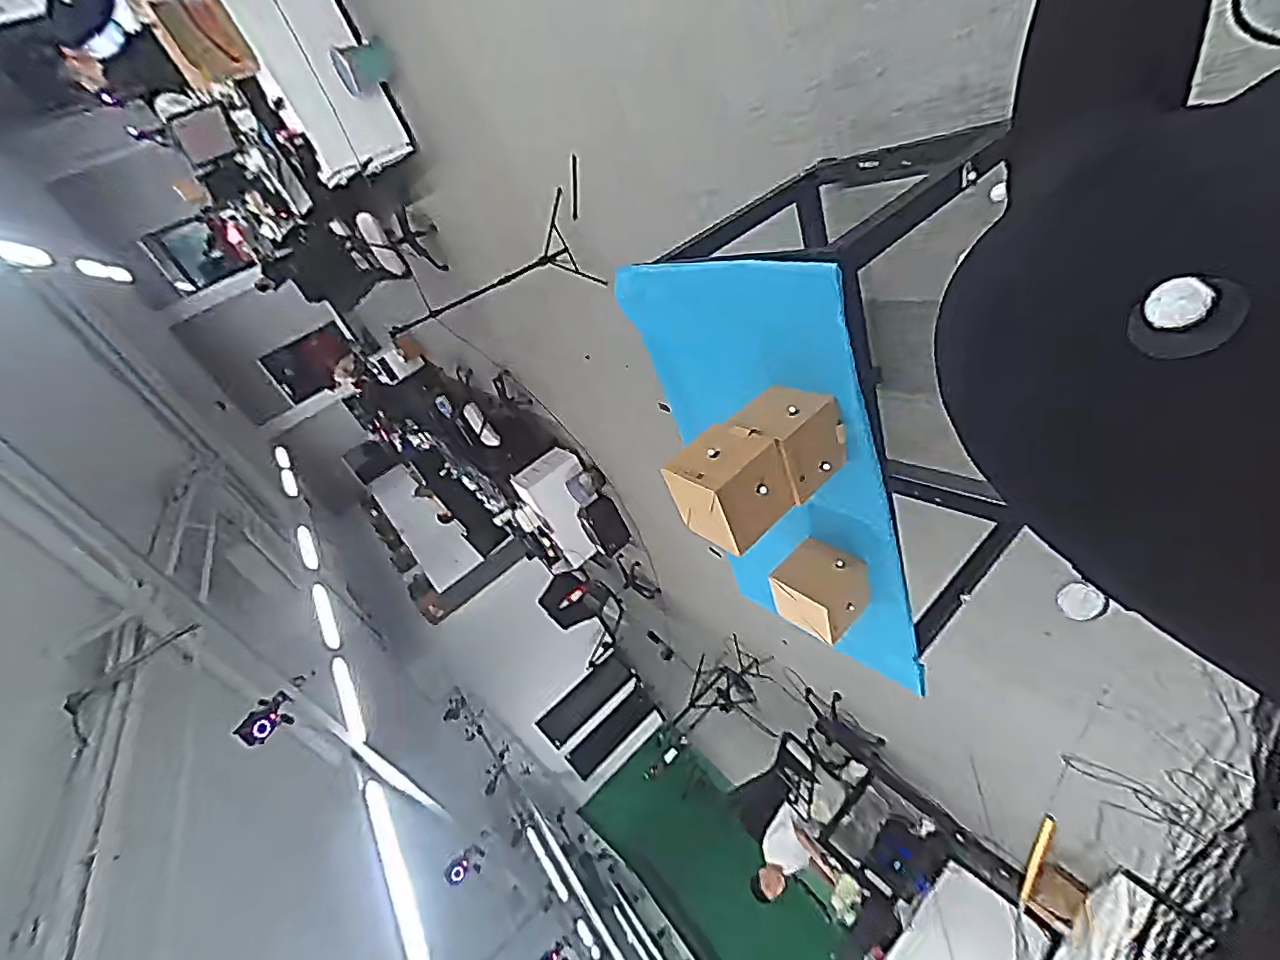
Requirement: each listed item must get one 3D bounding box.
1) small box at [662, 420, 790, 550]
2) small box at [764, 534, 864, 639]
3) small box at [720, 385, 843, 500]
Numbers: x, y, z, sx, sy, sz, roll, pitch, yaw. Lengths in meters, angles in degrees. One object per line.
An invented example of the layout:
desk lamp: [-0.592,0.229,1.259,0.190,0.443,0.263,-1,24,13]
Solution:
small box: [0.170,0.009,1.095,0.168,0.176,0.179,28,152,50]
small box: [0.454,0.278,1.410,0.179,0.176,0.168,27,148,46]
small box: [0.295,-0.080,1.150,0.179,0.176,0.168,25,147,51]
